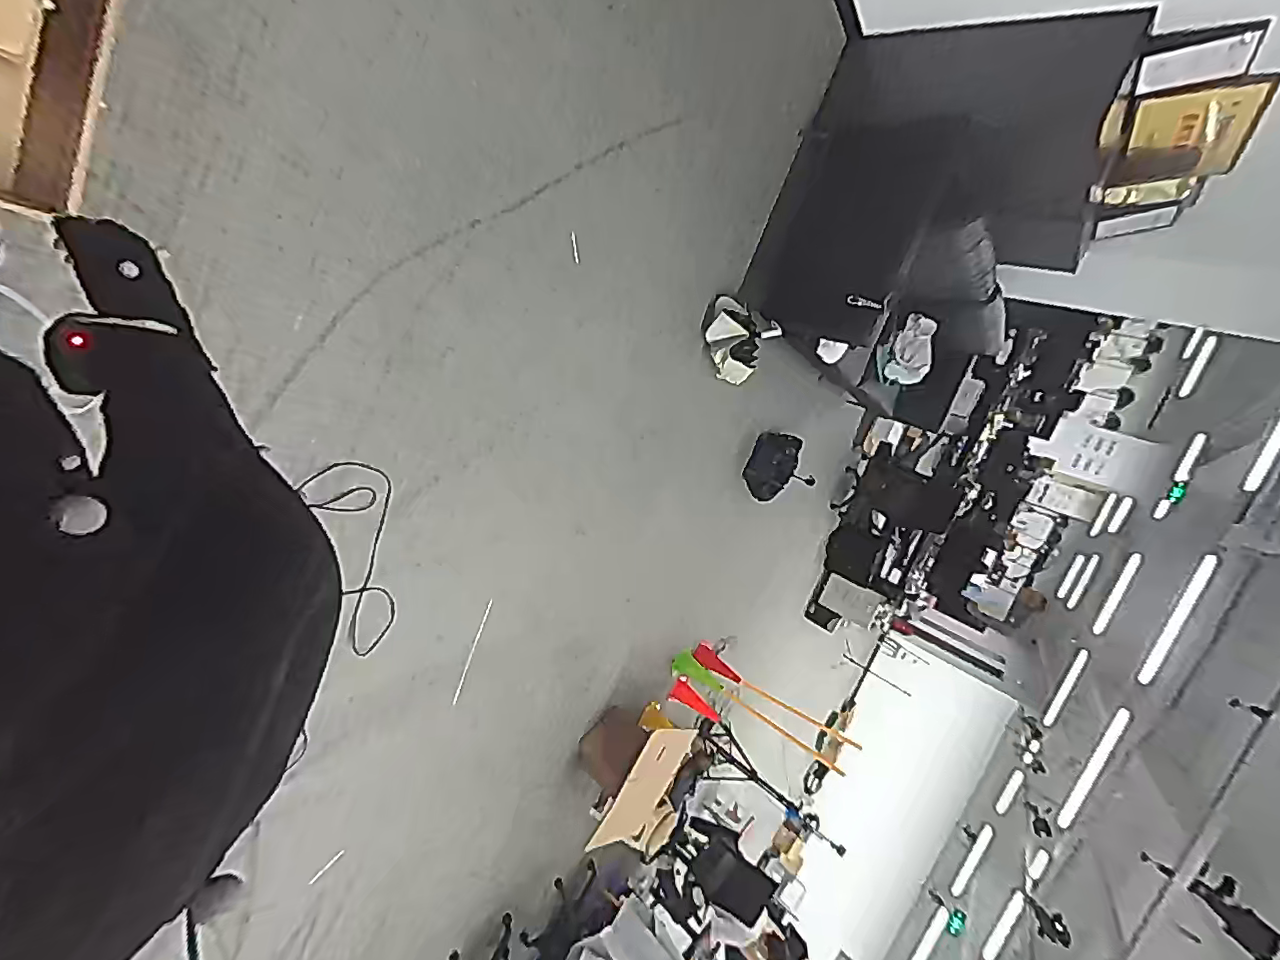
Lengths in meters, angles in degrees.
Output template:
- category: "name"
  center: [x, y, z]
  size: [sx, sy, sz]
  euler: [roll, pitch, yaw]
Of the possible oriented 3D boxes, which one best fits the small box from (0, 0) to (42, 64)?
- category: "small box"
  center: [-0.781, -0.601, 0.596]
  size: [0.168, 0.176, 0.179]
  euler: [9, 105, -54]
